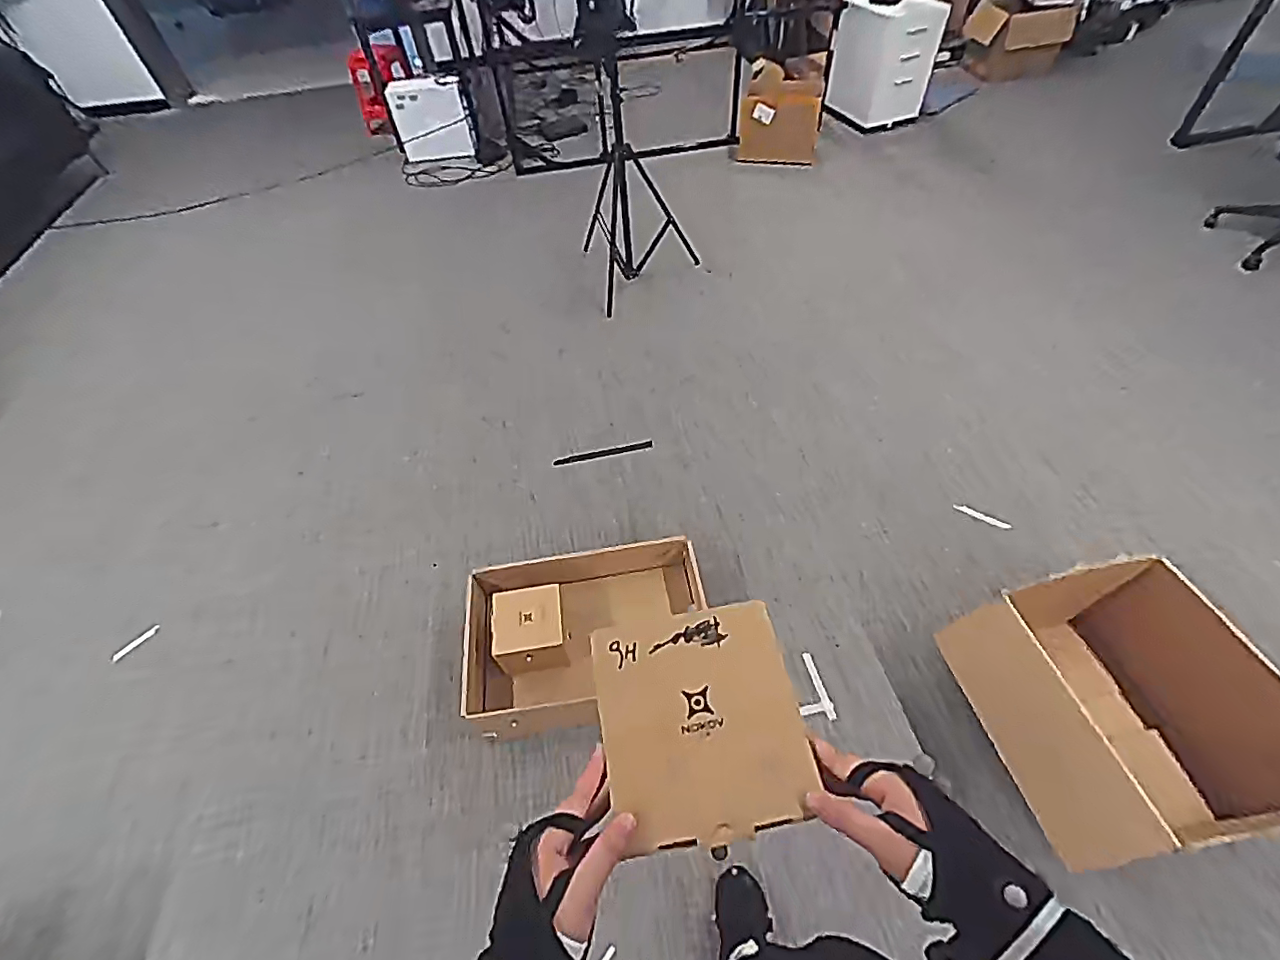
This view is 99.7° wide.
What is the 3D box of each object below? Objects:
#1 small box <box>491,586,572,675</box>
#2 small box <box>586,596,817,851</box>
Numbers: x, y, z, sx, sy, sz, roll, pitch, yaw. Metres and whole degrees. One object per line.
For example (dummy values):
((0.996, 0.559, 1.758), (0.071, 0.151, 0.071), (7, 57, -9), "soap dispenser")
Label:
((-0.283, 0.401, 1.425), (0.179, 0.176, 0.168), (-9, 54, -4), "small box")
((0.048, 0.234, 0.520), (0.168, 0.176, 0.179), (-10, 58, -3), "small box")
